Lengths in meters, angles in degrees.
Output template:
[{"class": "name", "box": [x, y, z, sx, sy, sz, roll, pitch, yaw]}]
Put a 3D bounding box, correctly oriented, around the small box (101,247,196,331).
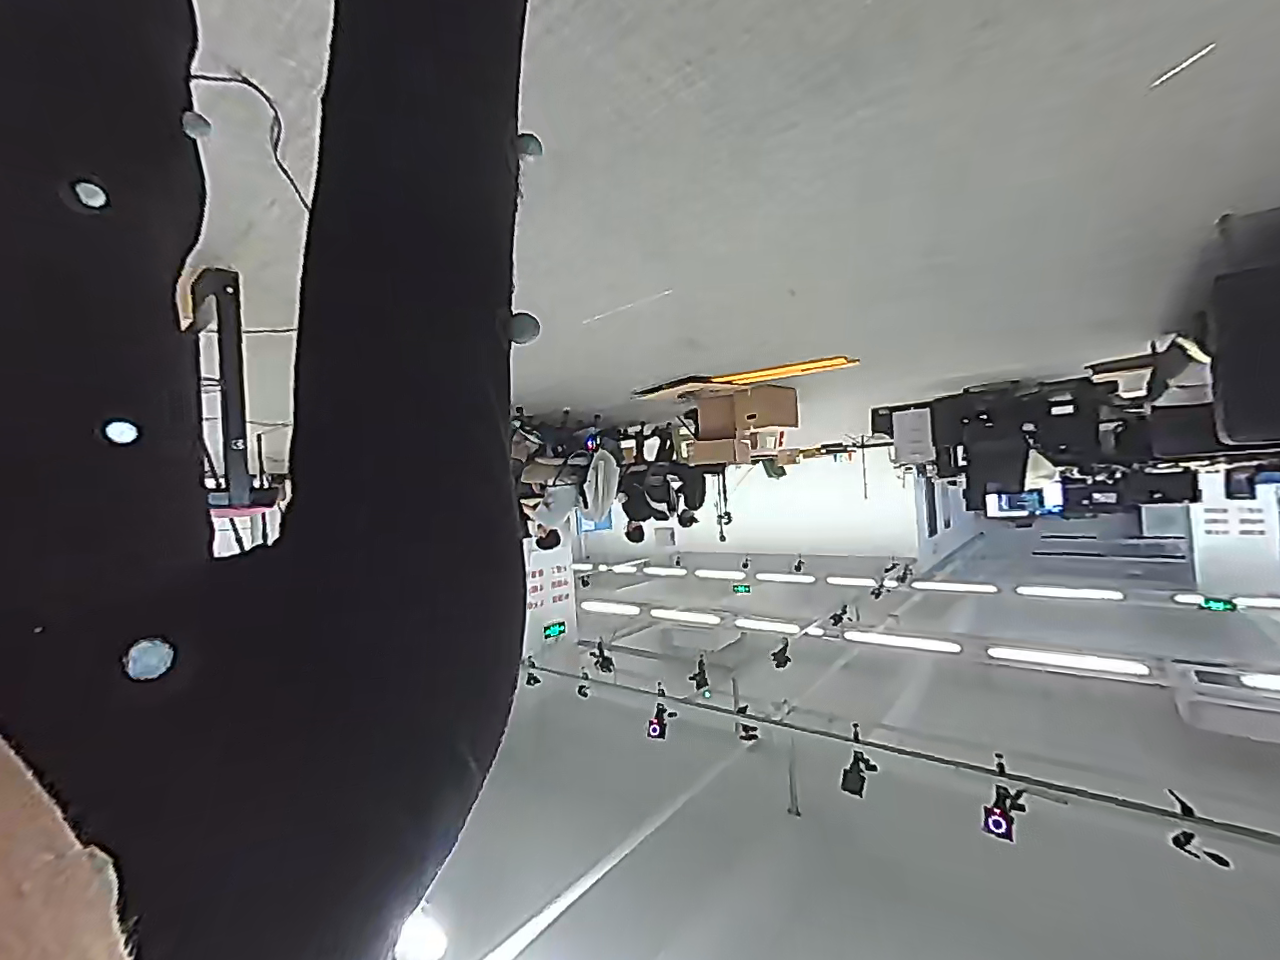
[{"class": "small box", "box": [-1.391, -0.535, 1.530, 0.168, 0.176, 0.179, -4, 178, 40]}]
